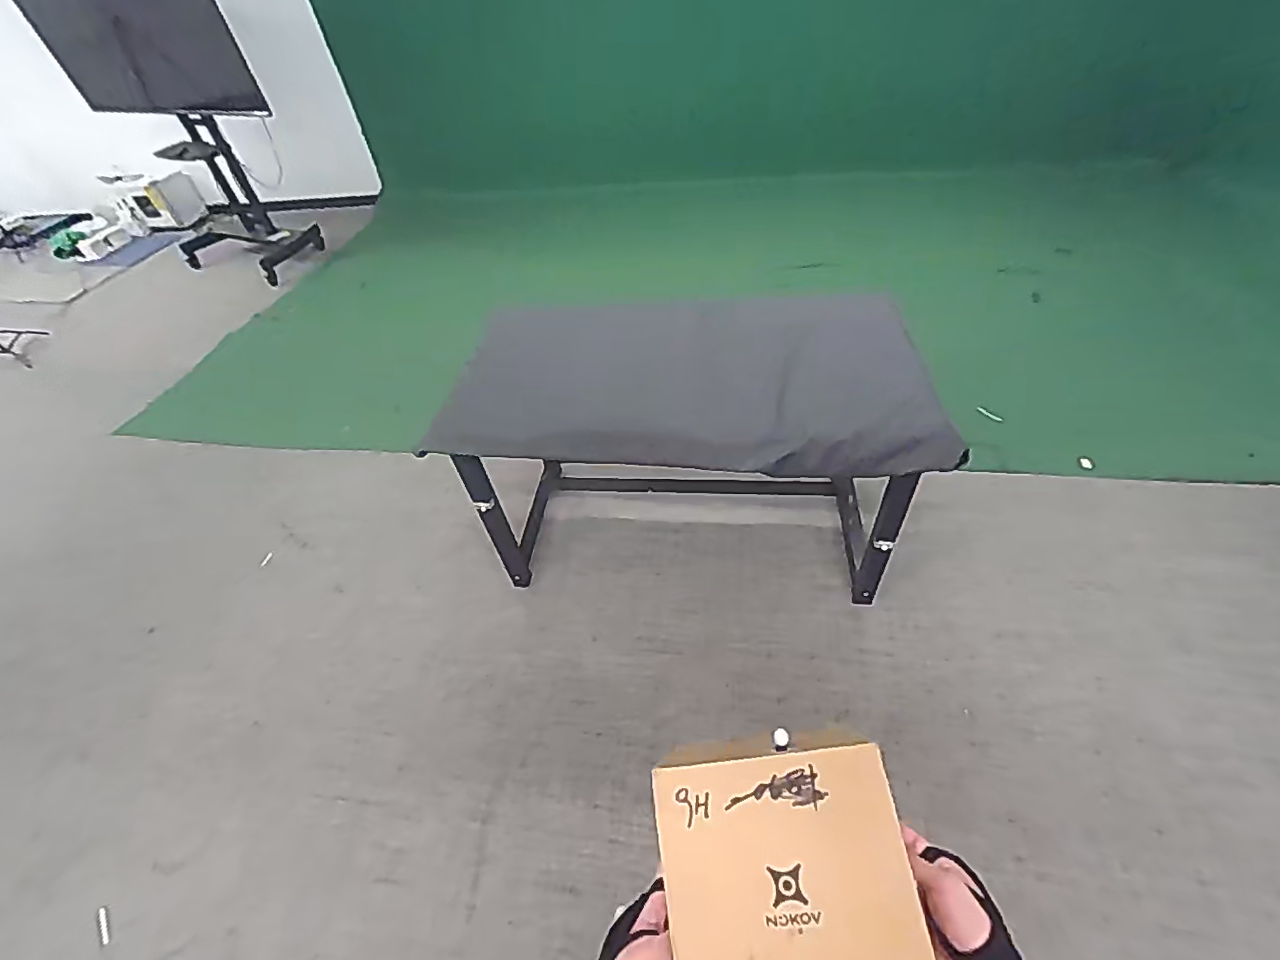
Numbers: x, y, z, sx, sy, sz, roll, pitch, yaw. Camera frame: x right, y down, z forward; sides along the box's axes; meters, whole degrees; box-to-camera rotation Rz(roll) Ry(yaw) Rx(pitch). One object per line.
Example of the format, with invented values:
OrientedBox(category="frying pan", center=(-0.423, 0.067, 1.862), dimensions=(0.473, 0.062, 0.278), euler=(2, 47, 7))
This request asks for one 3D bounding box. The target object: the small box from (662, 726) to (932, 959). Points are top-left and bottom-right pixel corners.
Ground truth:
OrientedBox(category="small box", center=(0.119, 0.313, 0.443), dimensions=(0.168, 0.176, 0.179), euler=(-10, 70, 6))
